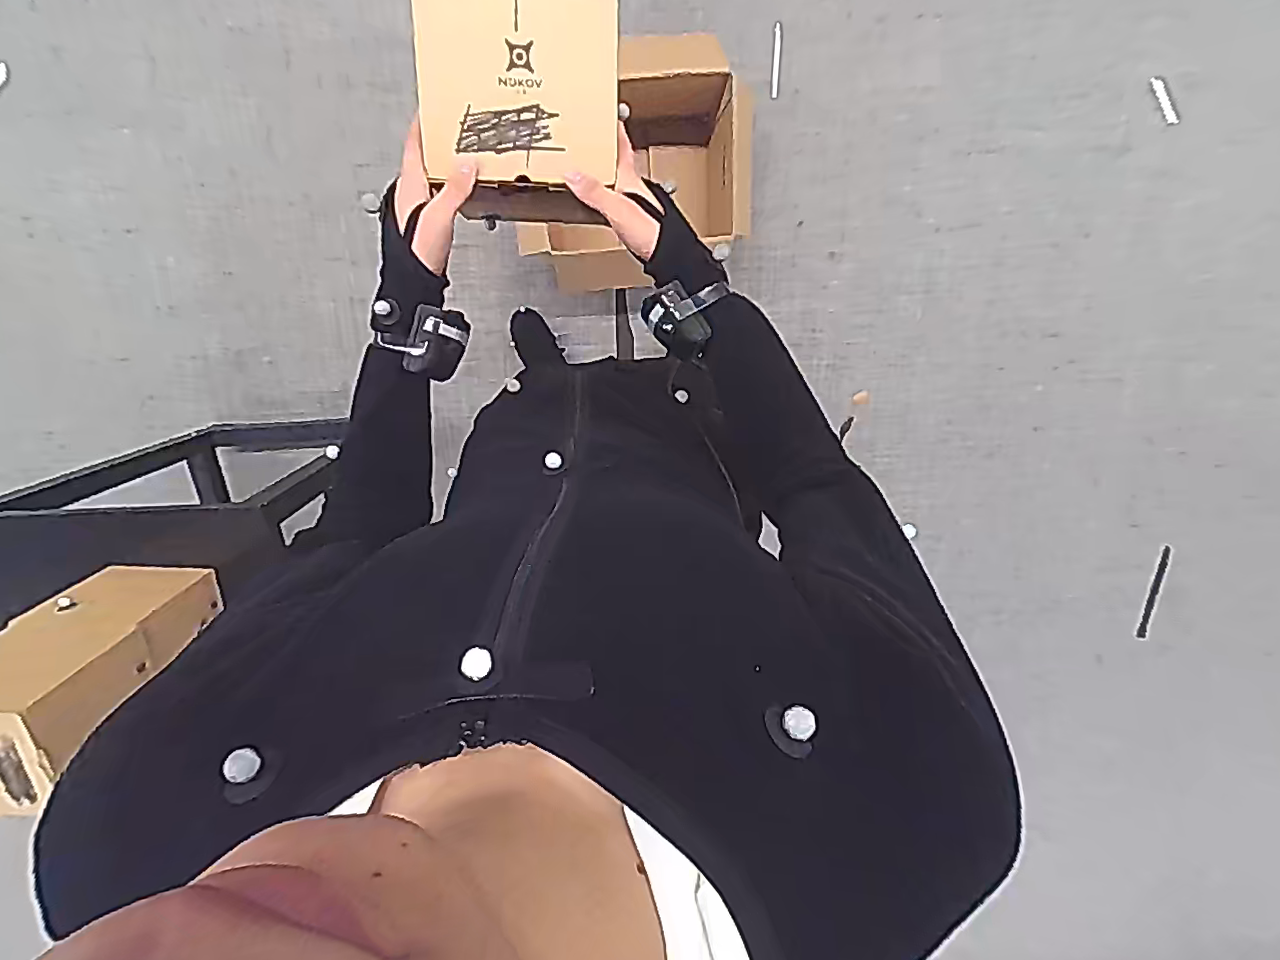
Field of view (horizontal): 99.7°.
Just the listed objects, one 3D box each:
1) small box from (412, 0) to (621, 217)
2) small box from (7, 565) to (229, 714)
[{"bbox_3d":[-0.103,-0.358,0.511,0.168,0.176,0.179,-1,105,-6],"label":"small box"},{"bbox_3d":[-0.820,0.248,0.872,0.179,0.176,0.168,3,111,-3],"label":"small box"}]
